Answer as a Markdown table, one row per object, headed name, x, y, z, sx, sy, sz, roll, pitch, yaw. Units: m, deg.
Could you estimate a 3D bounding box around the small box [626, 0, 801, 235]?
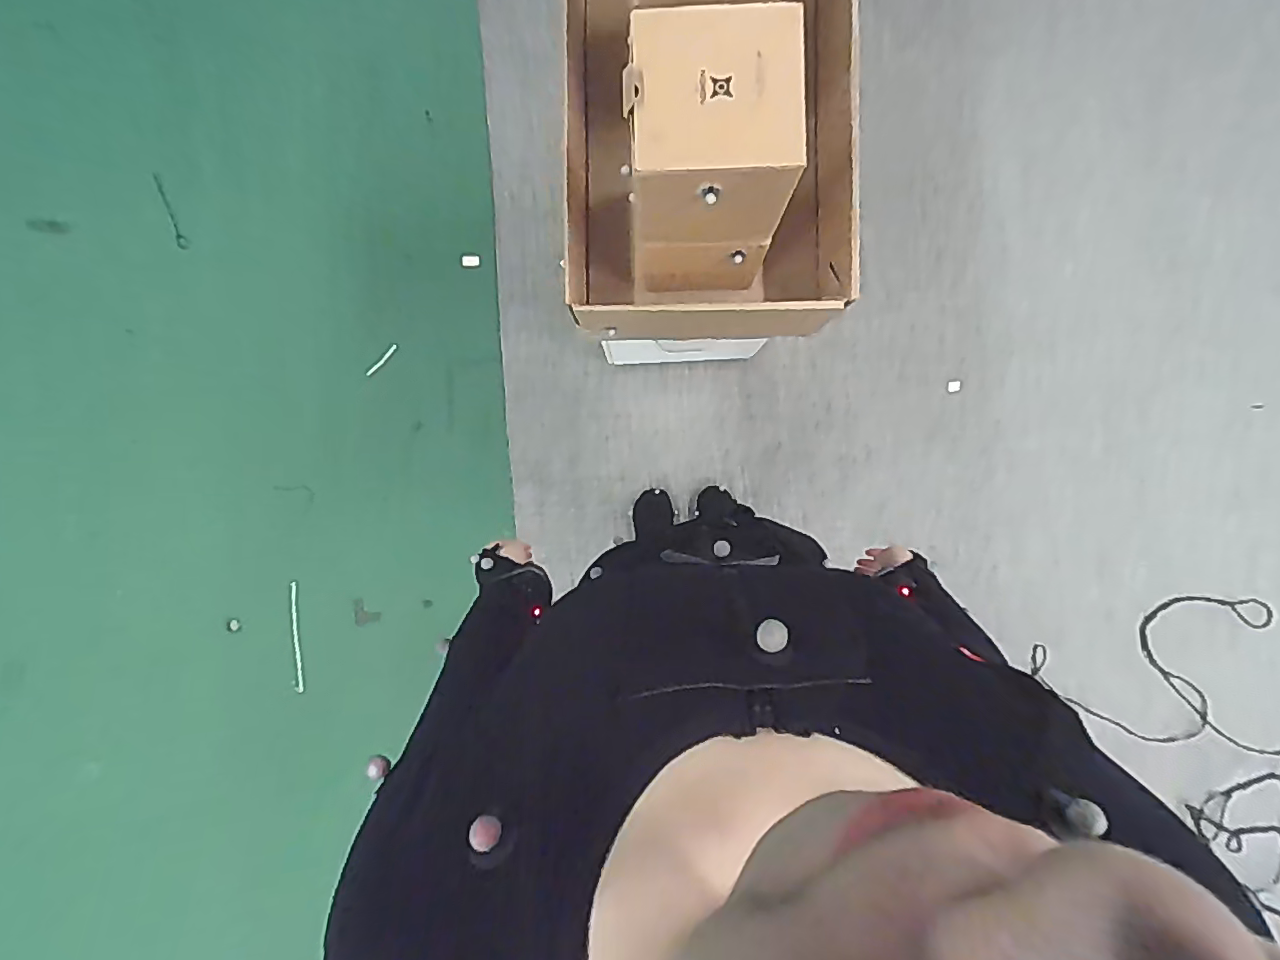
| name | x | y | z | sx | sy | sz | roll | pitch | yaw |
| --- | --- | --- | --- | --- | --- | --- | --- | --- | --- |
| small box | 0.076 | -0.399 | 0.626 | 0.179 | 0.176 | 0.168 | -1 | 91 | 0 |
